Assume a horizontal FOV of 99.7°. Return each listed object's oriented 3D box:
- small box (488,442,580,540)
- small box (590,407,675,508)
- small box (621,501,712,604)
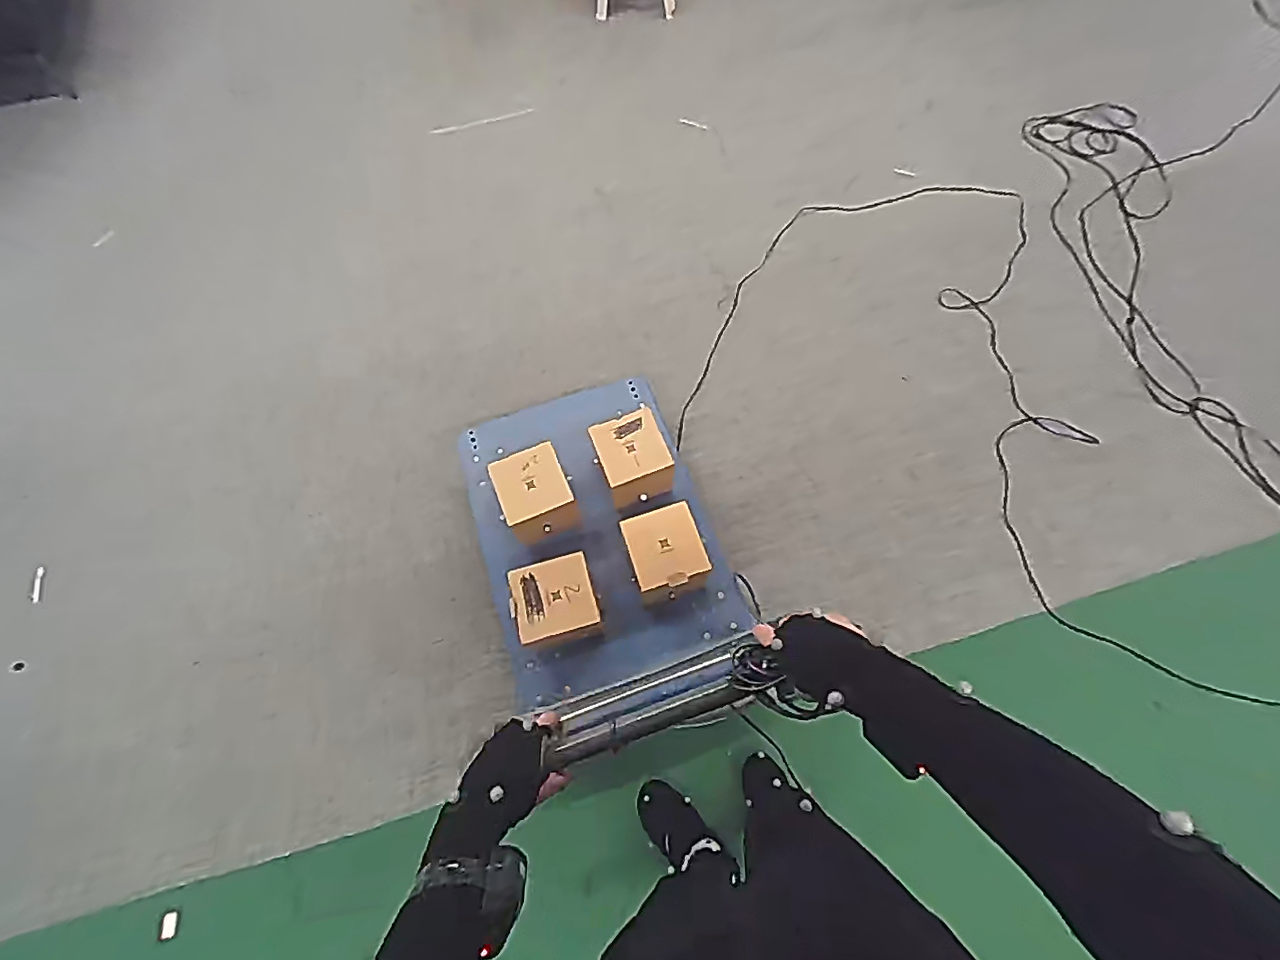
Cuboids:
[{"bbox_3d":[-0.259,0.037,1.362,0.168,0.176,0.179,-22,68,-8],"label":"small box"},{"bbox_3d":[-0.020,-0.053,1.394,0.168,0.176,0.179,-21,69,-6],"label":"small box"},{"bbox_3d":[0.059,0.178,1.295,0.168,0.176,0.179,-18,68,-6],"label":"small box"}]
